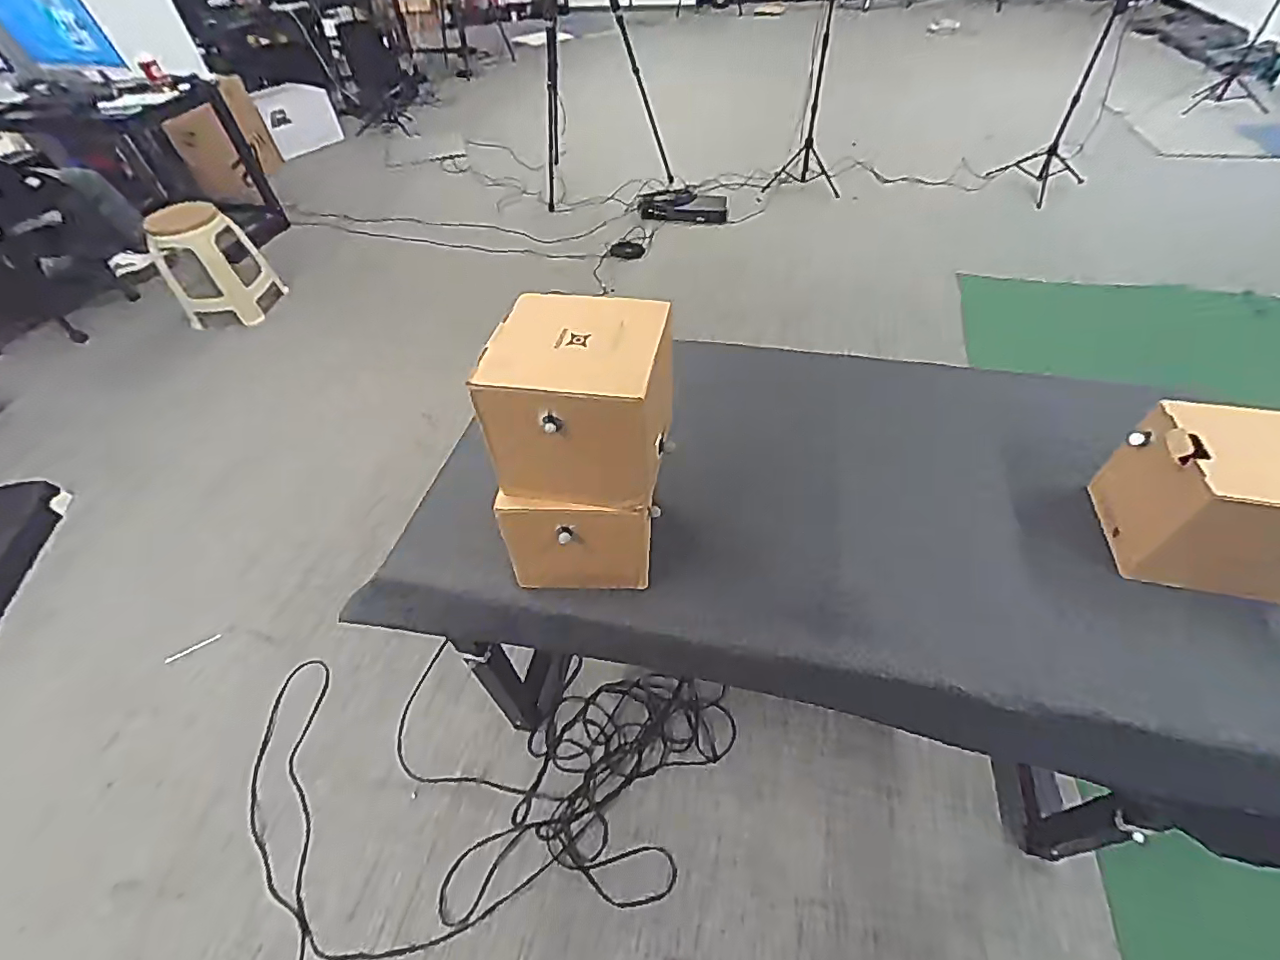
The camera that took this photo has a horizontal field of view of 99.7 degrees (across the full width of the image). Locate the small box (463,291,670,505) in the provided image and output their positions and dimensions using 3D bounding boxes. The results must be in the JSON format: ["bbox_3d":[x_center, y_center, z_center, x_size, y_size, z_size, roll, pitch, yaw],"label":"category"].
[{"bbox_3d":[-0.065,-0.089,0.604,0.179,0.176,0.168,7,50,9],"label":"small box"}]

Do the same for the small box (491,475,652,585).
[{"bbox_3d":[-0.075,0.028,0.719,0.179,0.176,0.168,1,48,4],"label":"small box"}]
